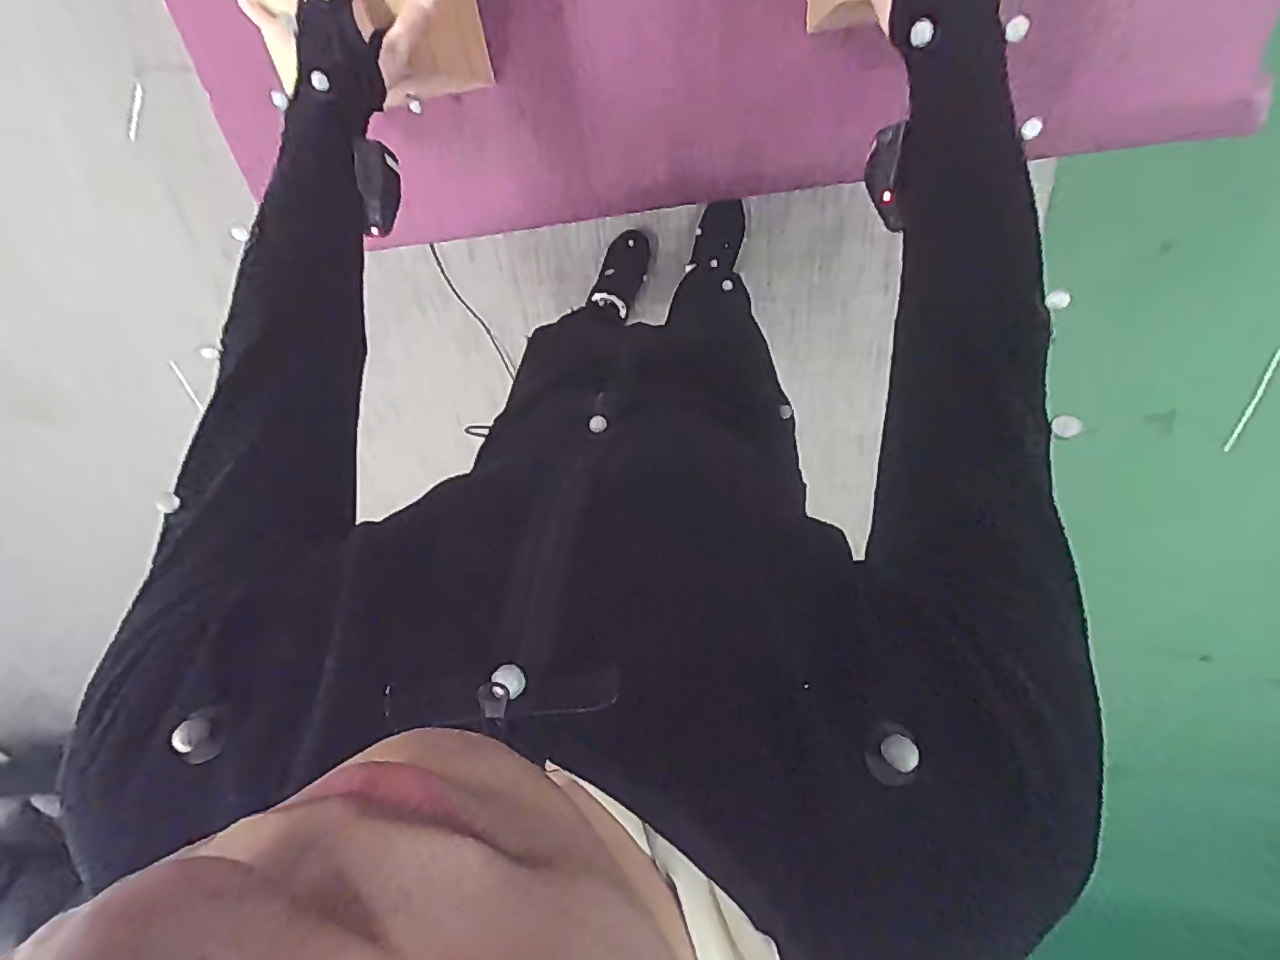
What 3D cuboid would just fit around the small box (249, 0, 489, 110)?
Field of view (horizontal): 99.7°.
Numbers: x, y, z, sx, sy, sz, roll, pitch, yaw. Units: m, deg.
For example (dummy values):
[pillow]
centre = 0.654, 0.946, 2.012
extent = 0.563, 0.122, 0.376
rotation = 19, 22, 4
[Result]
[small box]
centre = -0.278, -0.502, 0.557
extent = 0.168, 0.176, 0.179
rotation = -4, 121, 9
